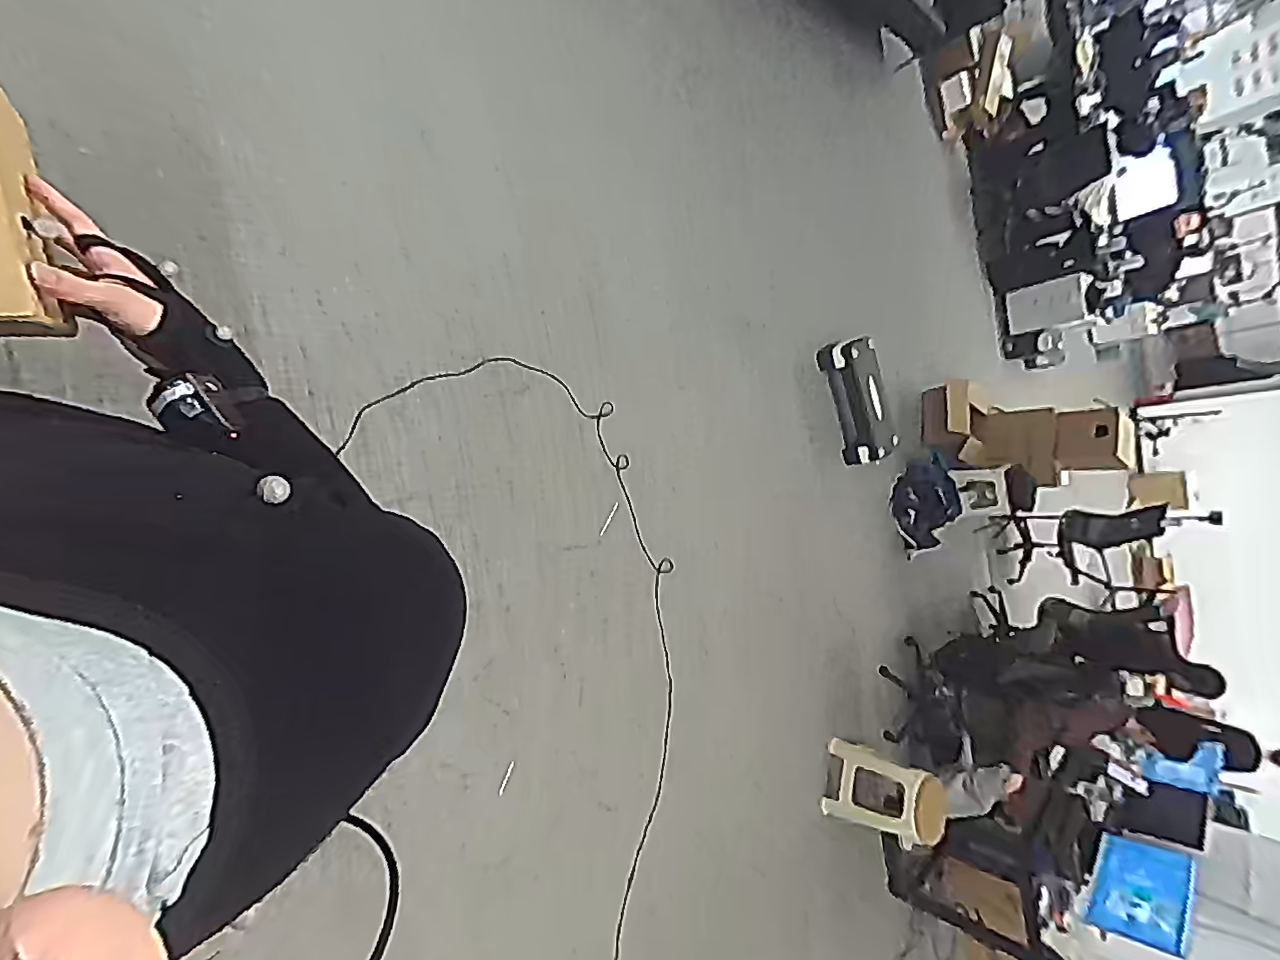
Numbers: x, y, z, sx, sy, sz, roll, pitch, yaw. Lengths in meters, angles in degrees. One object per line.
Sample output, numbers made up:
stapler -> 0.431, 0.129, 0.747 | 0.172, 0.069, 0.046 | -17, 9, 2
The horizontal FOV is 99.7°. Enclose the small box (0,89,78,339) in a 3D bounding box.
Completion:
small box -> -0.509, -0.184, 0.354 | 0.168, 0.176, 0.179 | -13, 107, -40
